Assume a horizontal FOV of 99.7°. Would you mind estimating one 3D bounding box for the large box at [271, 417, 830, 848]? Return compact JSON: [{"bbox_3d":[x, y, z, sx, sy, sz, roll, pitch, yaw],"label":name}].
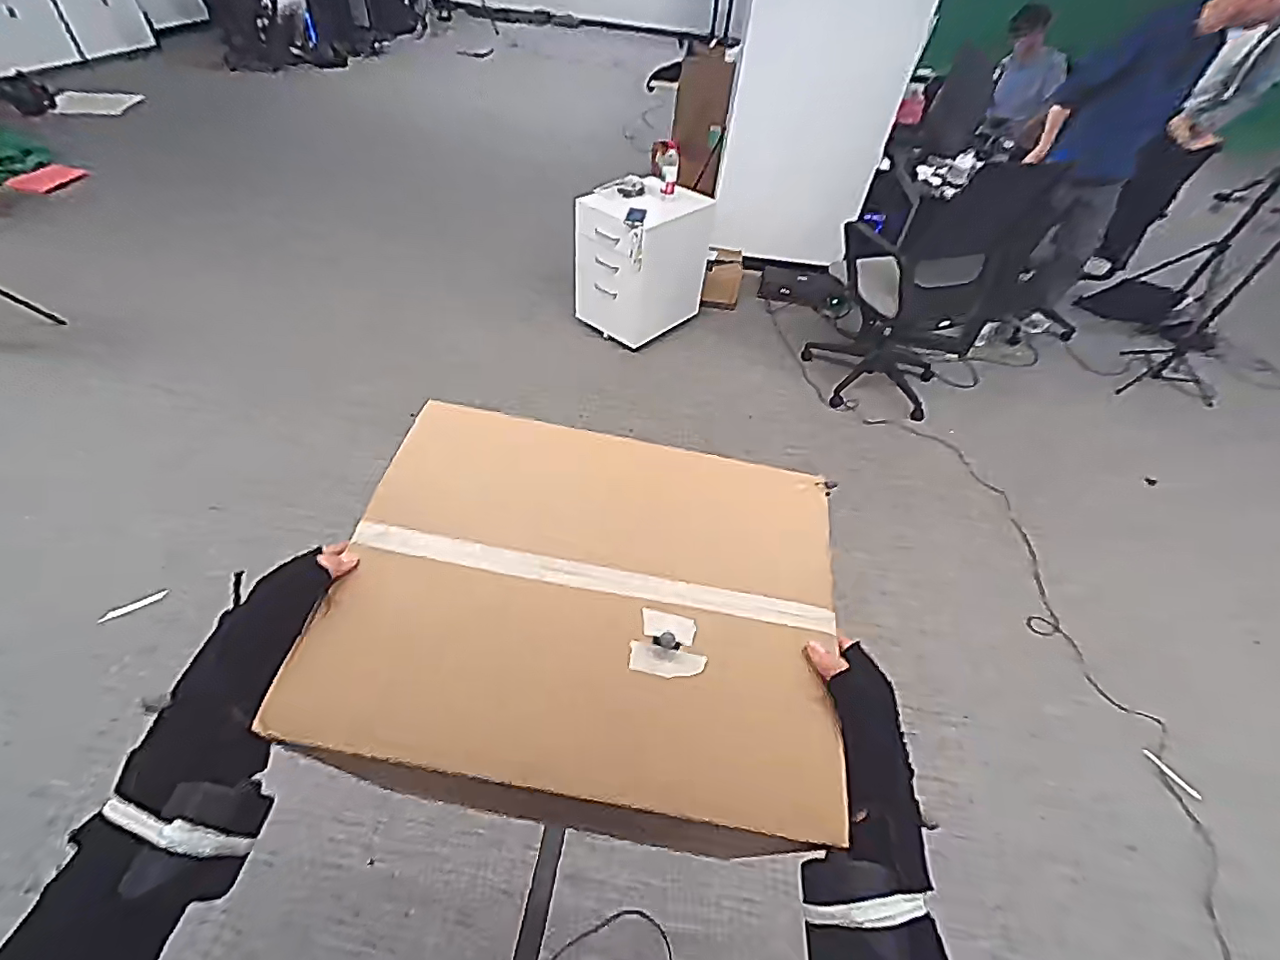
[{"bbox_3d":[-0.060,0.176,0.581,0.408,0.320,0.320,11,54,-1],"label":"large box"}]
